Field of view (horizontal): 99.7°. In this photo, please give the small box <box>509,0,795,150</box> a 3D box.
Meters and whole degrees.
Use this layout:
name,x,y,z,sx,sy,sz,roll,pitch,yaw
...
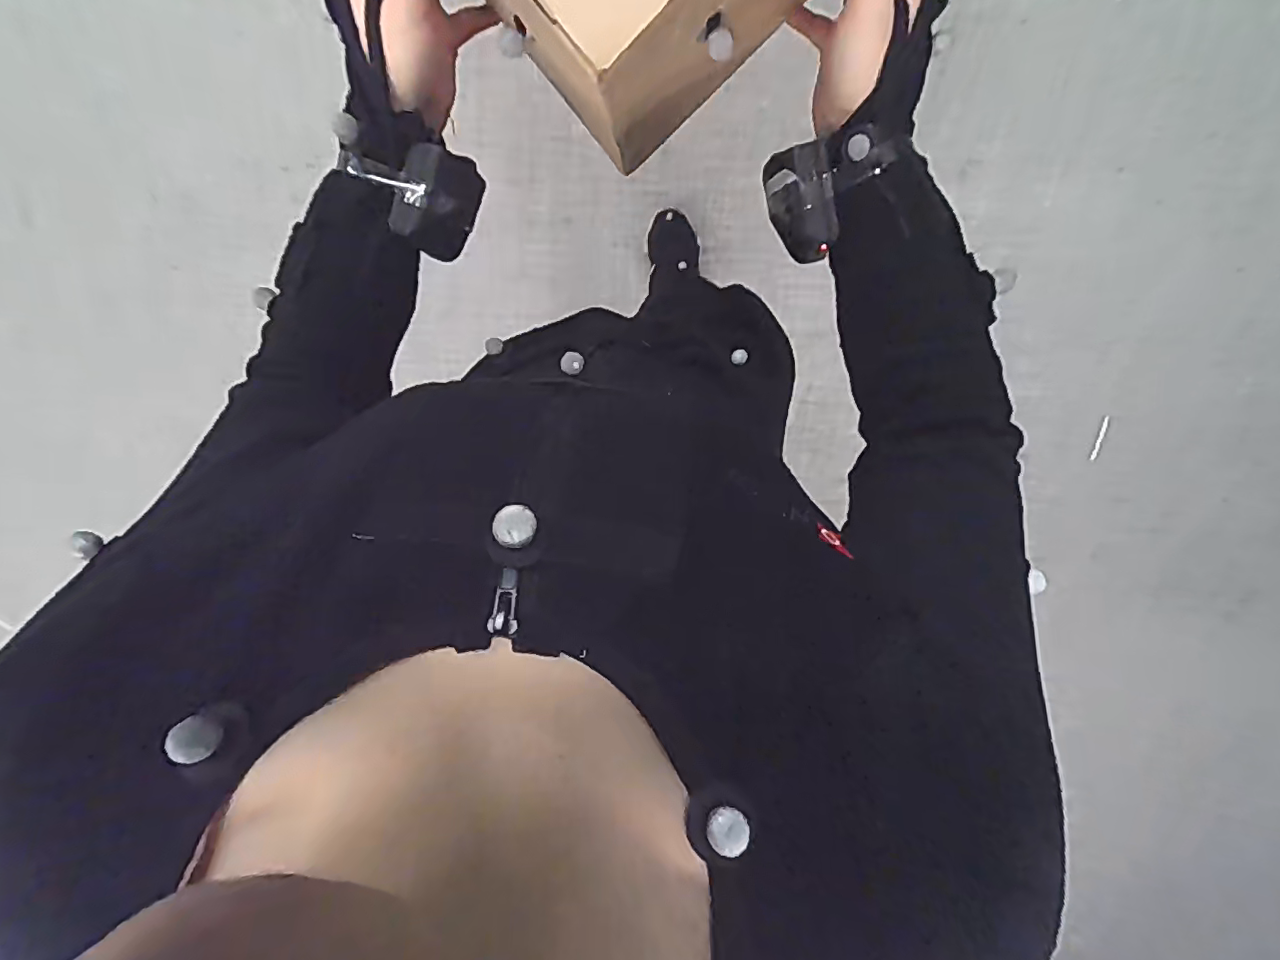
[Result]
name,x,y,z,sx,sy,sz,roll,pitch,yaw
small box,0.001,-0.322,0.289,0.179,0.176,0.168,-39,101,14
